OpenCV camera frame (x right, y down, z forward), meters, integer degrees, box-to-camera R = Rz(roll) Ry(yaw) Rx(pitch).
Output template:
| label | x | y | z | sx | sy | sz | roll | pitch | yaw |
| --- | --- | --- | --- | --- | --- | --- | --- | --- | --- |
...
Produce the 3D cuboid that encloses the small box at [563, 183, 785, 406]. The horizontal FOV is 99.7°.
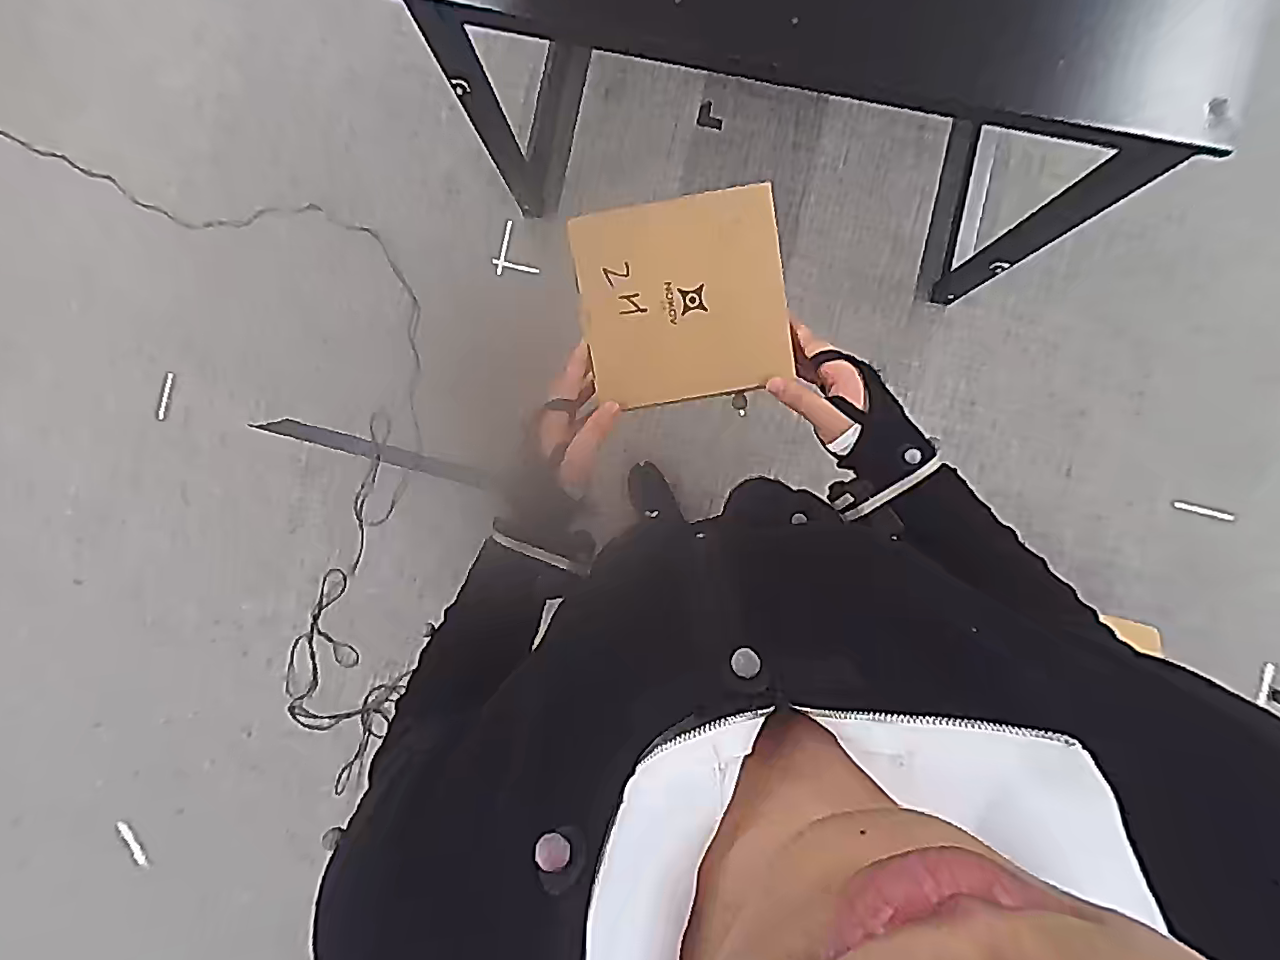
| label | x | y | z | sx | sy | sz | roll | pitch | yaw |
| --- | --- | --- | --- | --- | --- | --- | --- | --- | --- |
| small box | 0.032 | -0.169 | 0.545 | 0.179 | 0.176 | 0.168 | -9 | 97 | 3 |
